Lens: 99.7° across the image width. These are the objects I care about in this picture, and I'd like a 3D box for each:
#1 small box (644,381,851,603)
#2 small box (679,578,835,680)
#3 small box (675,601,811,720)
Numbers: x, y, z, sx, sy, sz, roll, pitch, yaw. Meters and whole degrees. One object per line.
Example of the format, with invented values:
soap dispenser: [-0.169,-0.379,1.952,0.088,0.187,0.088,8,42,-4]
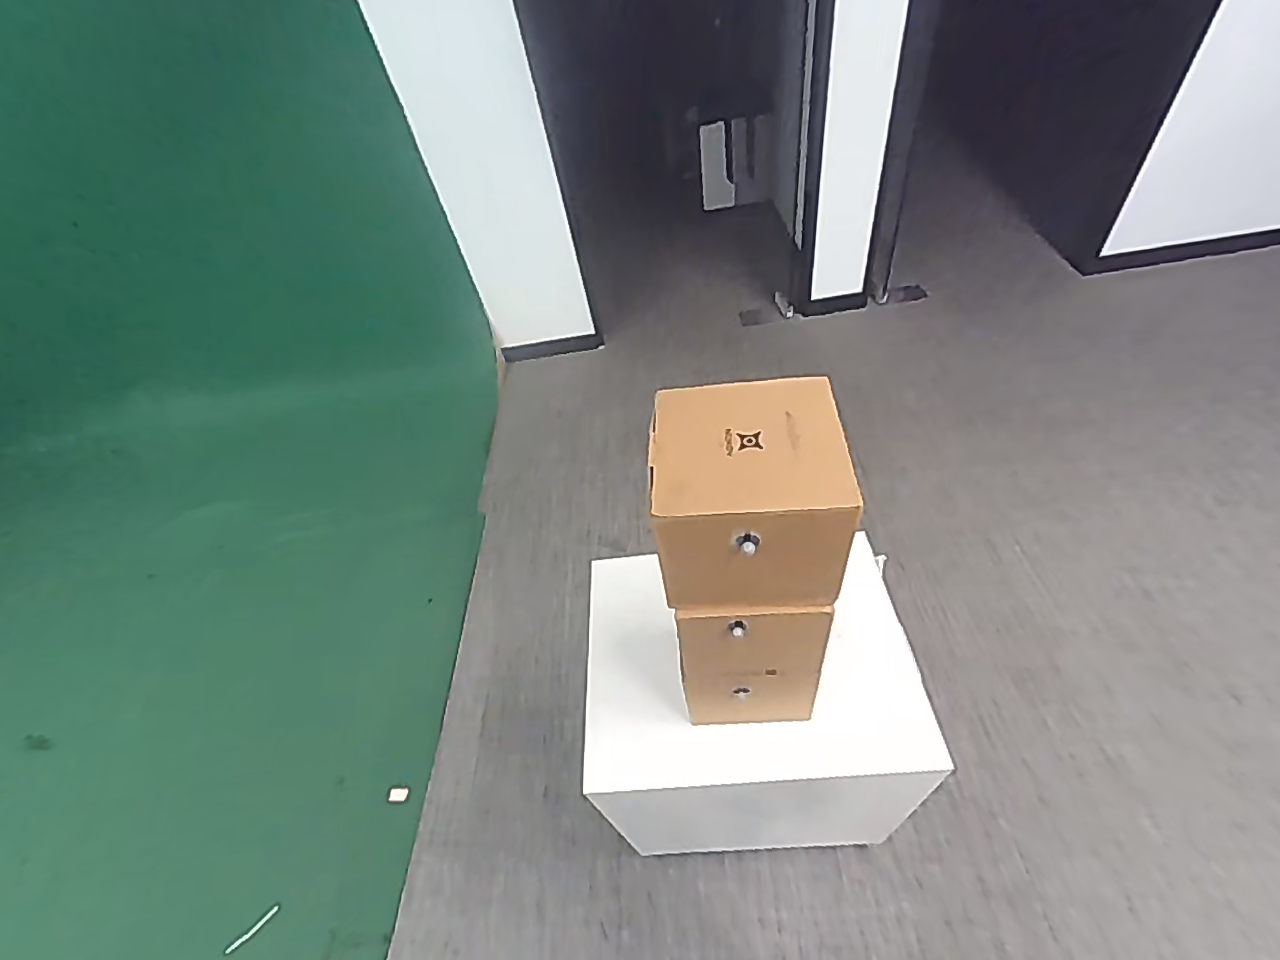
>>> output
small box: [0.105,0.018,0.566,0.179,0.176,0.168,-3,49,7]
small box: [0.132,0.132,0.683,0.168,0.176,0.179,-6,48,5]
small box: [0.148,0.243,0.798,0.179,0.176,0.168,-5,47,7]
